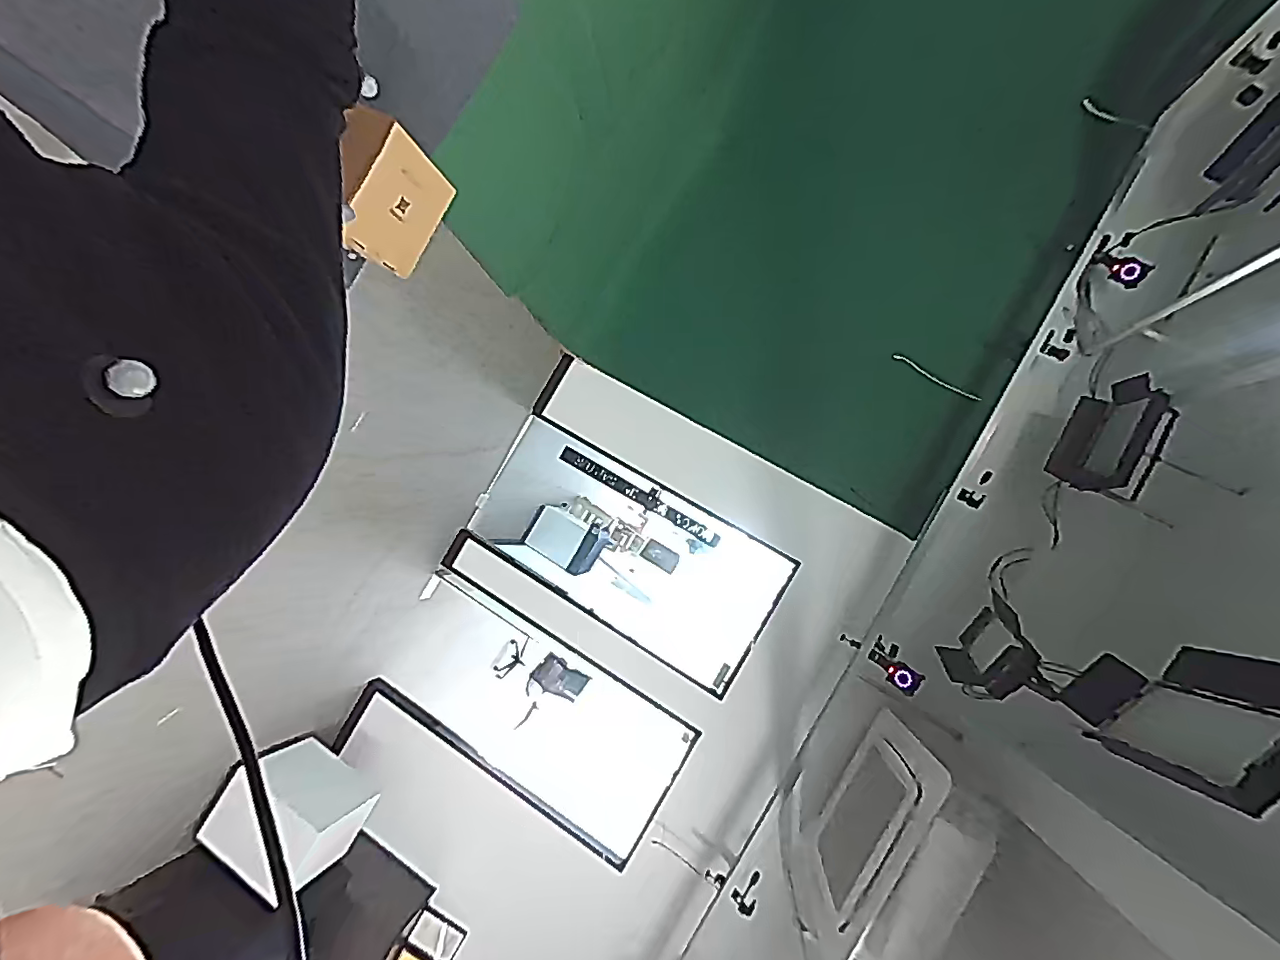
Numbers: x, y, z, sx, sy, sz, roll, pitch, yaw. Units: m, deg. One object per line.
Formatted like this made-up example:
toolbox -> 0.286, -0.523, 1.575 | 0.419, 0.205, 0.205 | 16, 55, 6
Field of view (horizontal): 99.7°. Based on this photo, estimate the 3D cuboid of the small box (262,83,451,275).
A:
small box -> -0.443, -0.466, 0.851 | 0.179, 0.176, 0.168 | -61, 169, 1
